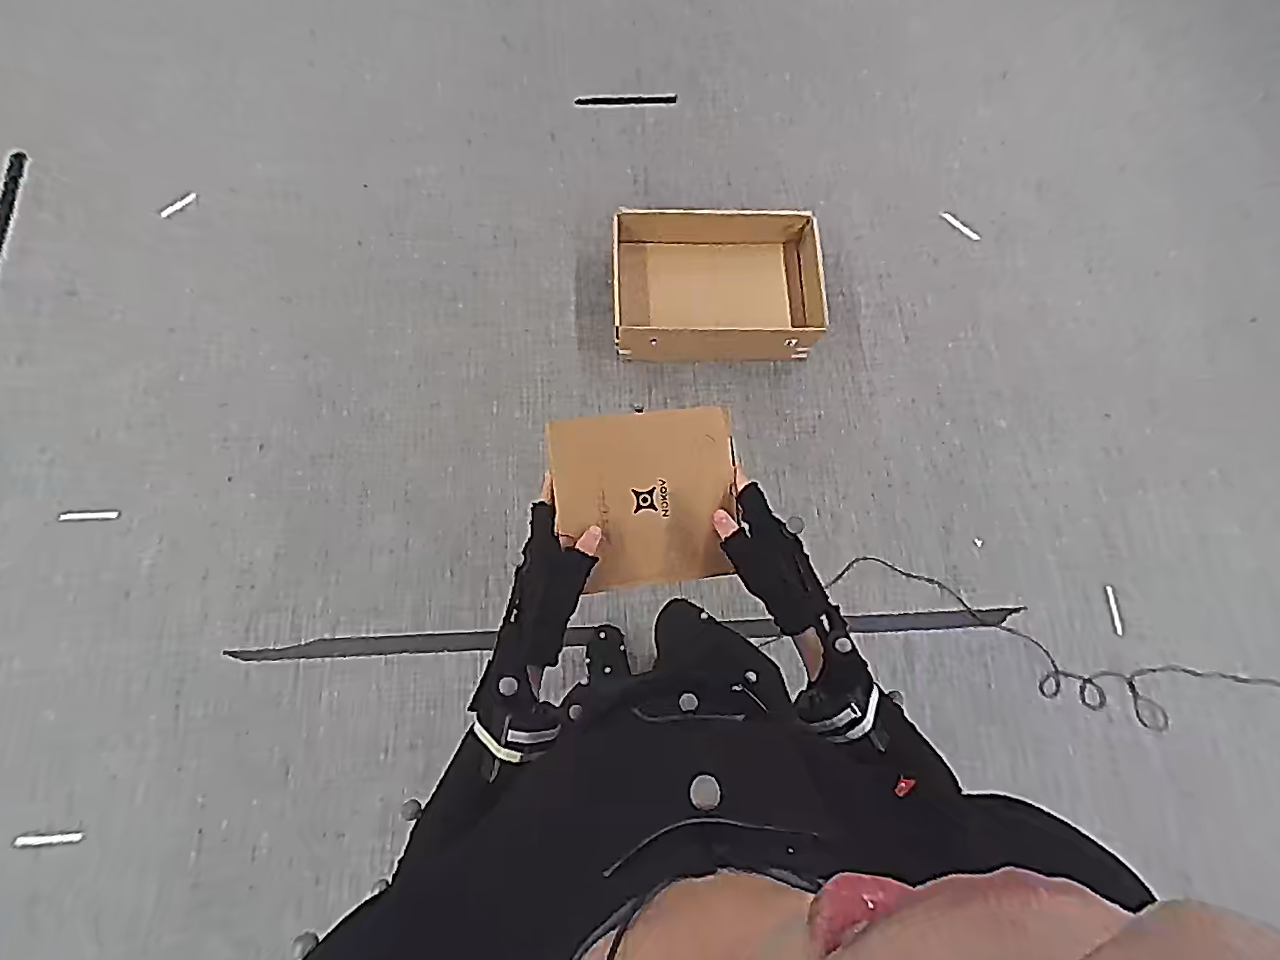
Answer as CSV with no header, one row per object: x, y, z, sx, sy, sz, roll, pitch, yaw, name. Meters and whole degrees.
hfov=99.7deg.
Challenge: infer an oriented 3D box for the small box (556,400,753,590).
0.005,0.010,0.586,0.179,0.176,0.168,-7,92,-7,small box
